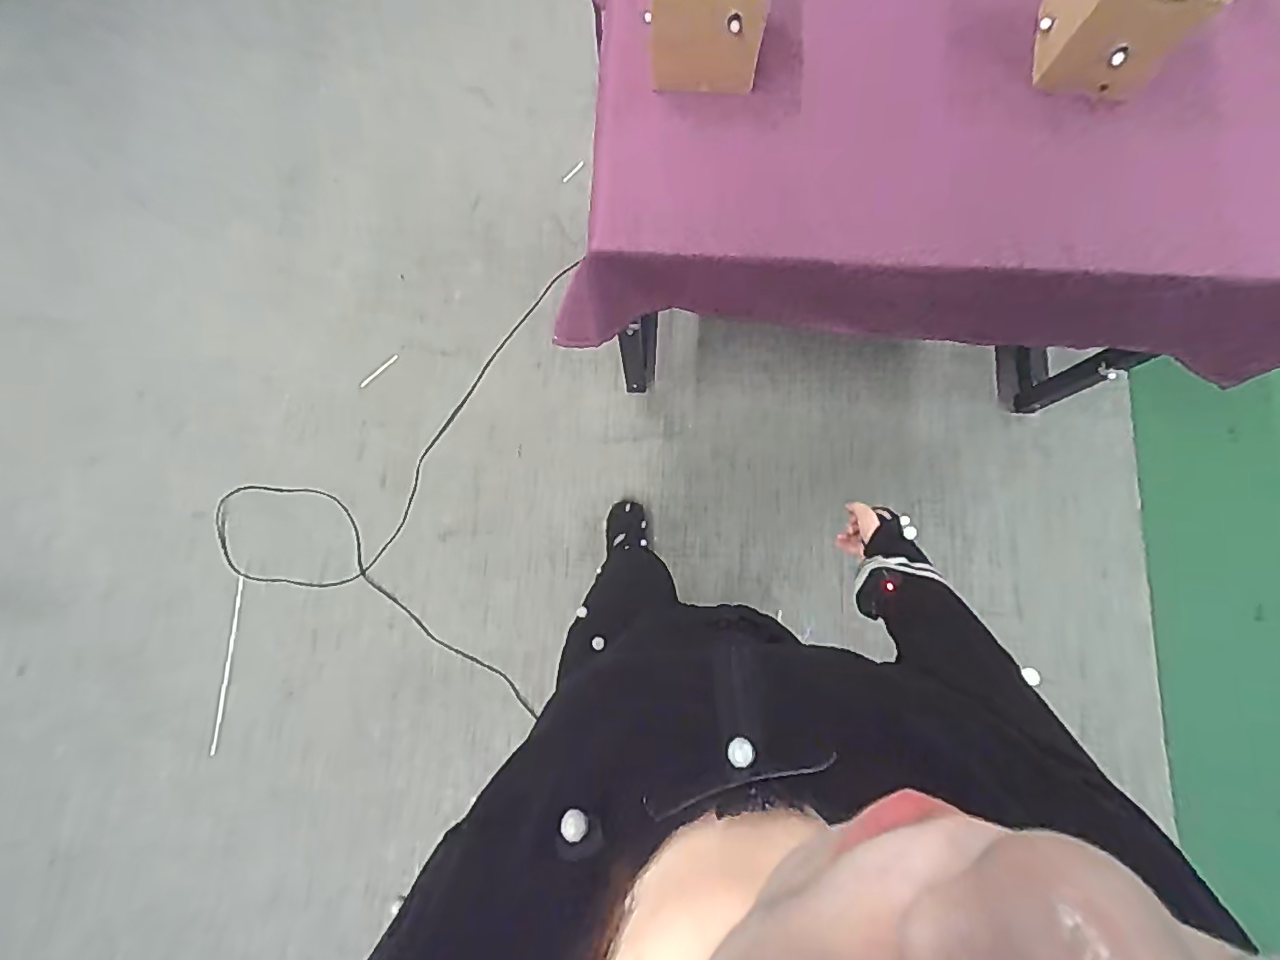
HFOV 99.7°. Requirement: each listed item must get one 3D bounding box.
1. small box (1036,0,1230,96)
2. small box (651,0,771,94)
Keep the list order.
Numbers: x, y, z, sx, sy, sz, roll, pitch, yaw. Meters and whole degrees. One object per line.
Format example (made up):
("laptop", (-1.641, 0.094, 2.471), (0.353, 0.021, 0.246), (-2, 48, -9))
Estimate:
("small box", (0.755, -0.743, 0.838), (0.168, 0.176, 0.179), (11, 81, 4))
("small box", (0.112, -0.761, 0.868), (0.179, 0.176, 0.168), (5, 79, 3))
